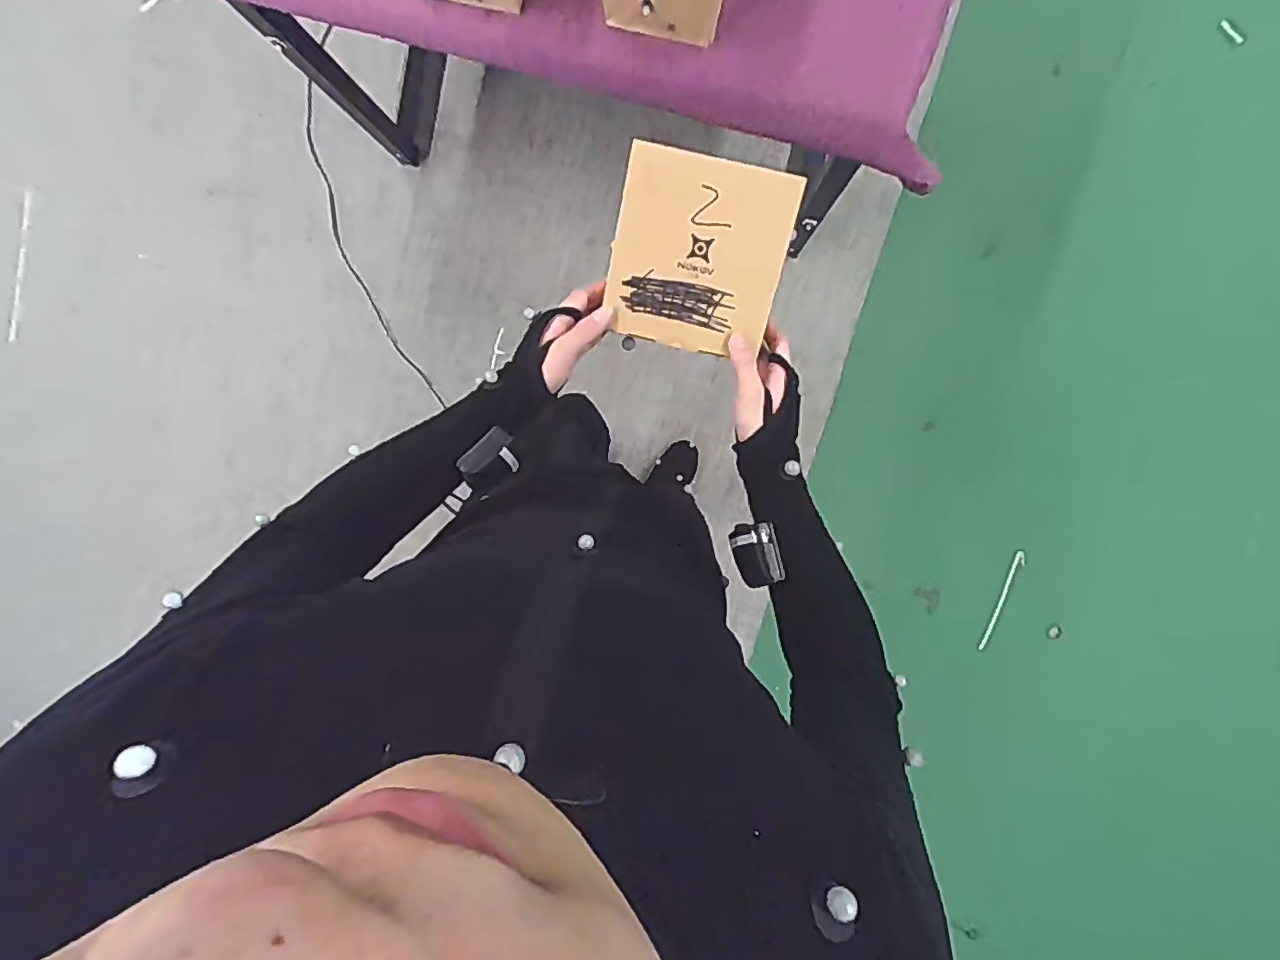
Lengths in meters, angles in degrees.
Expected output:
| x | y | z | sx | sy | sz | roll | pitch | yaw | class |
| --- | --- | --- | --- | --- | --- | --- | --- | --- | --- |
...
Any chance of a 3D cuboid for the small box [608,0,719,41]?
| x | y | z | sx | sy | sz | roll | pitch | yaw | class |
| --- | --- | --- | --- | --- | --- | --- | --- | --- | --- |
| 0.043 | -0.755 | 0.728 | 0.168 | 0.176 | 0.179 | 14 | 97 | 1 | small box |
